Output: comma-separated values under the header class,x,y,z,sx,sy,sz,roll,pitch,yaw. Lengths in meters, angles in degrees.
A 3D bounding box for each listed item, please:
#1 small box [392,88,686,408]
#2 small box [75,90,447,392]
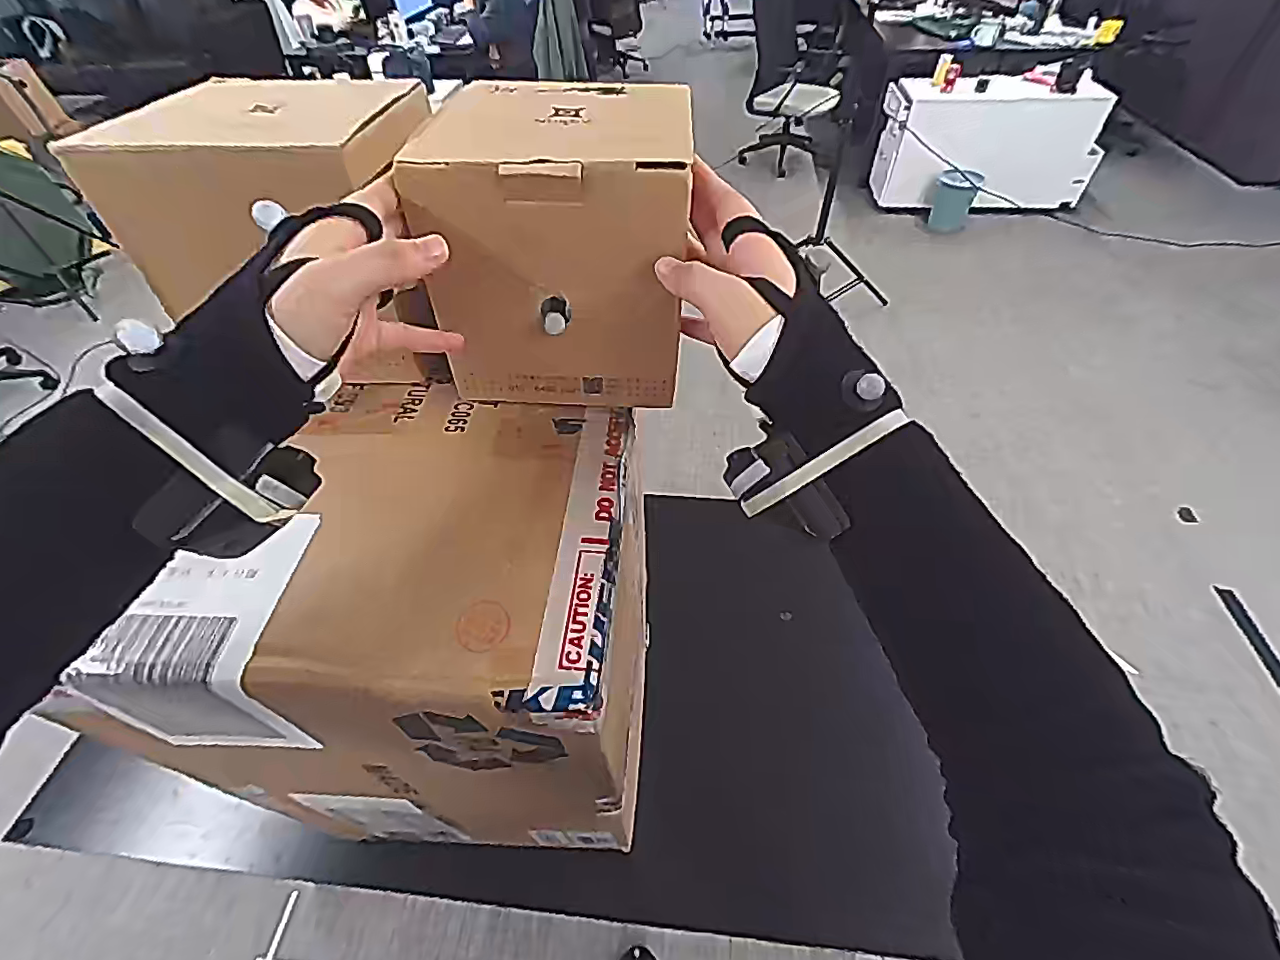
class,x,y,z,sx,sy,sz,roll,pitch,yaw
small box,-0.053,-0.172,0.409,0.168,0.176,0.179,3,48,0
small box,-0.250,-0.189,0.429,0.168,0.176,0.179,-2,47,0
